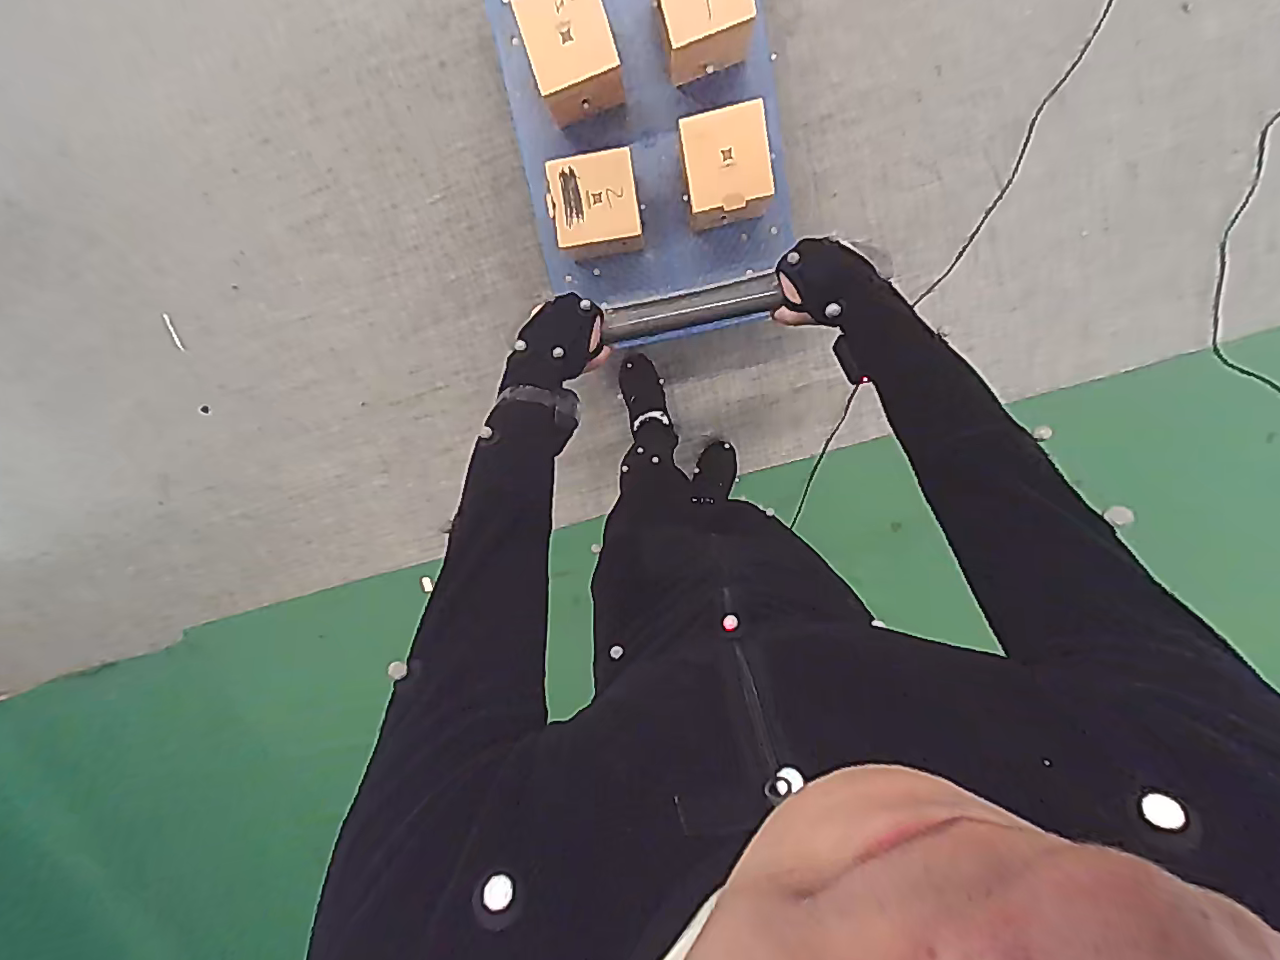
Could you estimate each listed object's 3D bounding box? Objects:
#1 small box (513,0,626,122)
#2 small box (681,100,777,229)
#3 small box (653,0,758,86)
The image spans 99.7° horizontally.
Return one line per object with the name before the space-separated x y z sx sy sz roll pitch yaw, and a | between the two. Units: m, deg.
small box | -0.133 -0.867 1.105 0.168 0.176 0.179 -17 103 7
small box | 0.180 -0.654 1.140 0.168 0.176 0.179 -11 104 6
small box | 0.123 -0.935 1.072 0.168 0.176 0.179 -16 104 8
